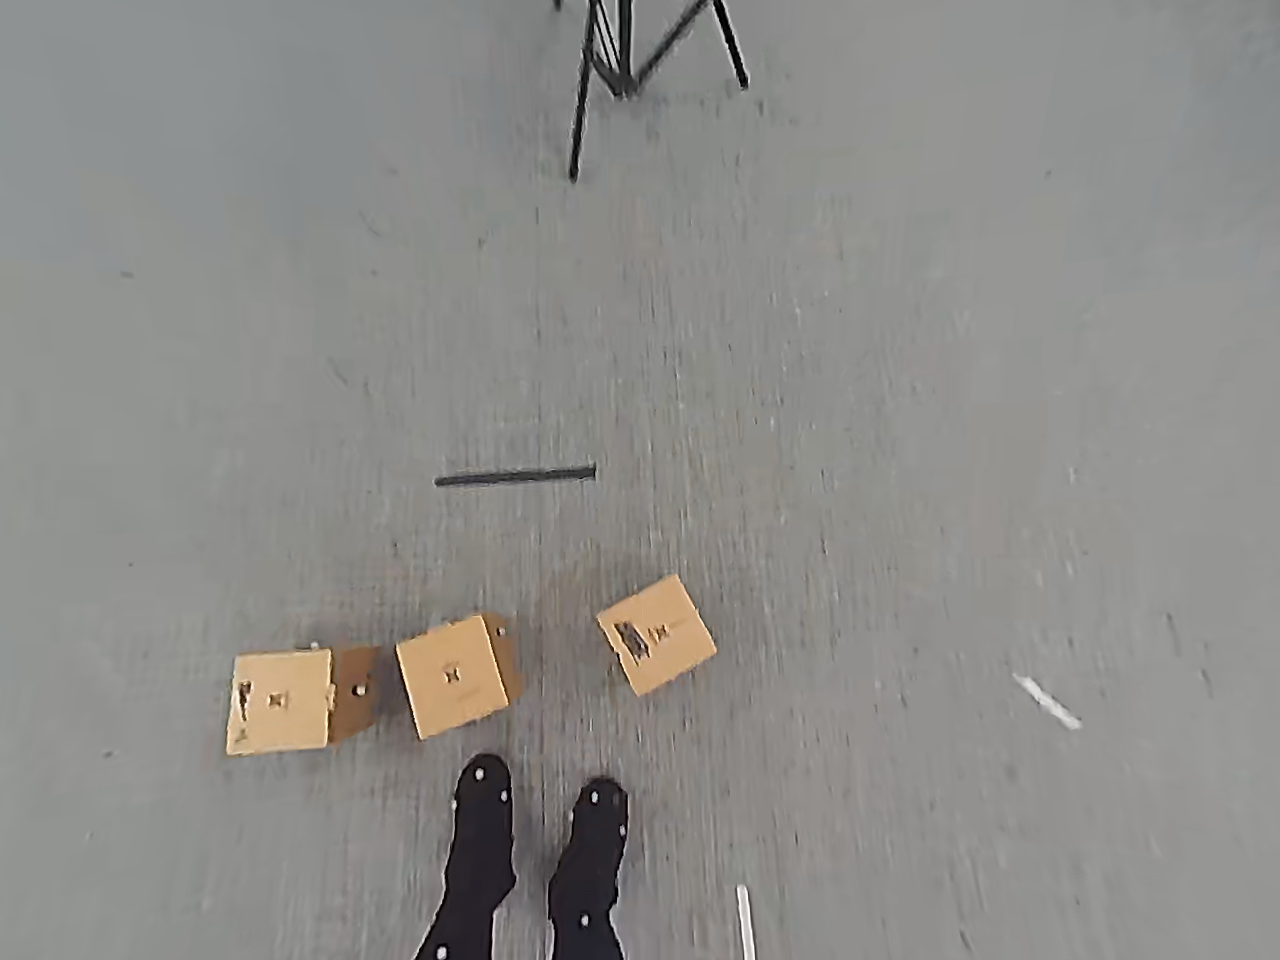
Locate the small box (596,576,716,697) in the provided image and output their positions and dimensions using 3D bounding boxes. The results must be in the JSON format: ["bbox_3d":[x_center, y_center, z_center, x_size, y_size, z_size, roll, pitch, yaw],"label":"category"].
[{"bbox_3d":[0.027,0.311,1.084,0.179,0.176,0.168,-27,78,-10],"label":"small box"}]

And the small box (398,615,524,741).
[{"bbox_3d":[-0.340,0.376,1.054,0.168,0.176,0.179,-21,77,-6],"label":"small box"}]

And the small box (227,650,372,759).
[{"bbox_3d":[-0.634,0.418,1.032,0.179,0.176,0.168,-3,75,-3],"label":"small box"}]
